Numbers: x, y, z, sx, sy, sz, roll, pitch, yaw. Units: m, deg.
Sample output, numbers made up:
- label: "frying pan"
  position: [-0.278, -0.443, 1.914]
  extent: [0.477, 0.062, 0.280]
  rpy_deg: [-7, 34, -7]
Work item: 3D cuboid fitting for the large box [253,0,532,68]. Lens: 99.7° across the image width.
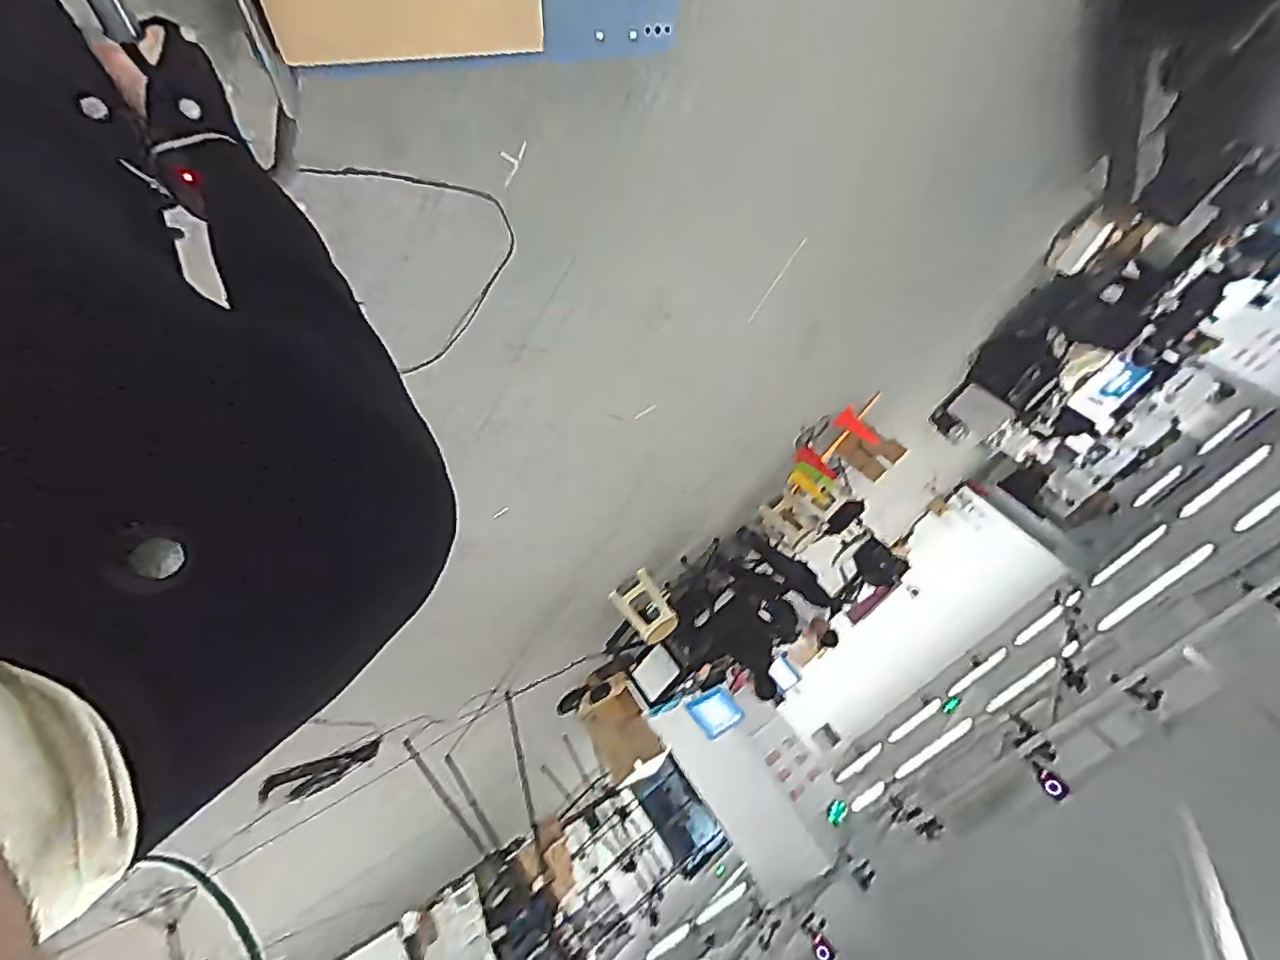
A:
- label: "large box"
  position: [-0.420, -0.880, 0.827]
  extent: [0.408, 0.320, 0.320]
  rpy_deg: [-19, 146, -18]
